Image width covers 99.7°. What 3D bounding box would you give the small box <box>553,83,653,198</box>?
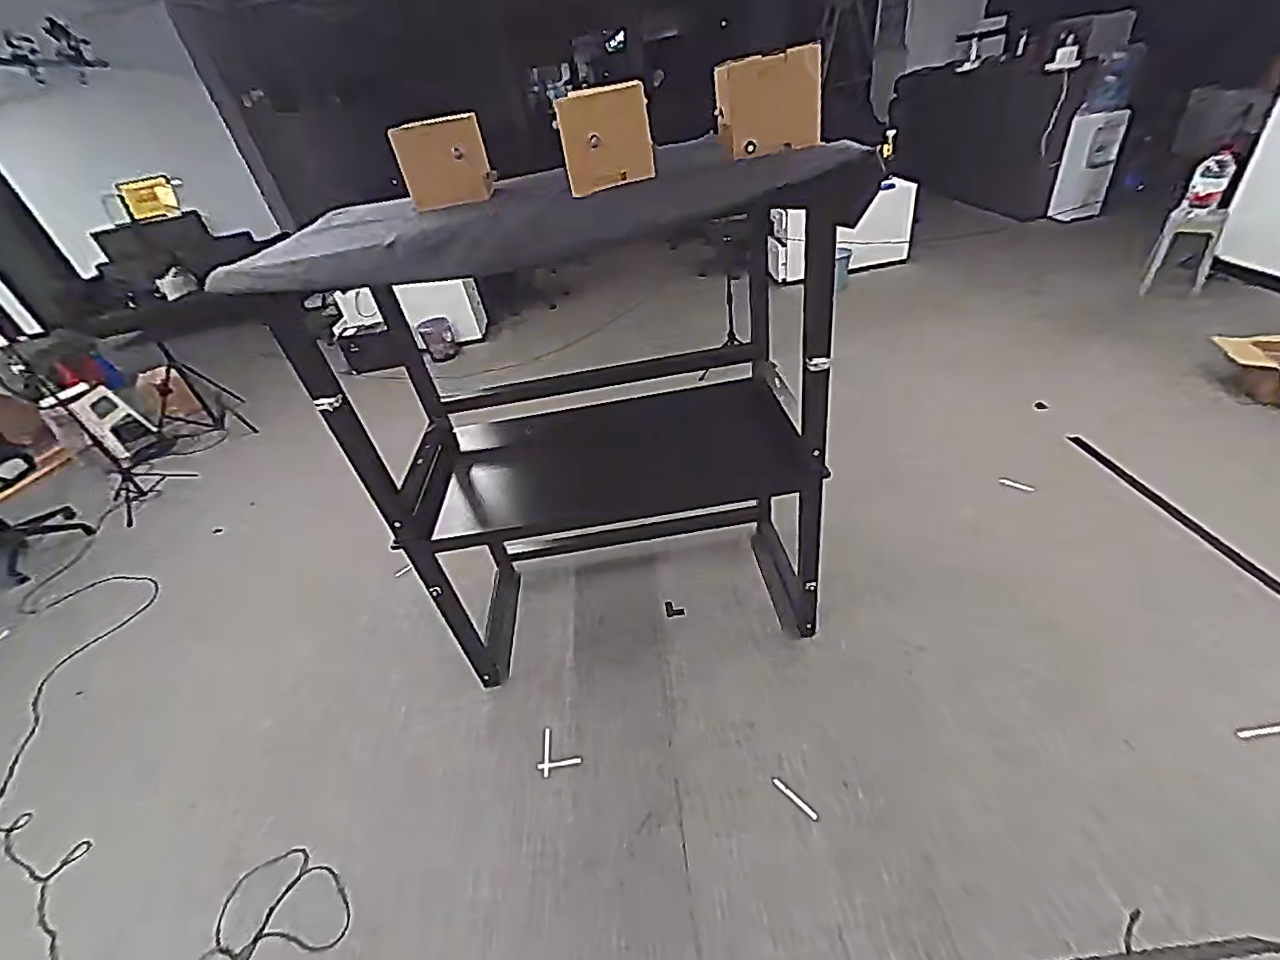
[{"bbox_3d":[-0.071,-0.684,1.096,0.168,0.176,0.179,-10,34,2],"label":"small box"}]

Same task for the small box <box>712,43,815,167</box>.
[{"bbox_3d":[0.241,-0.725,1.061,0.168,0.176,0.179,-9,33,4],"label":"small box"}]
